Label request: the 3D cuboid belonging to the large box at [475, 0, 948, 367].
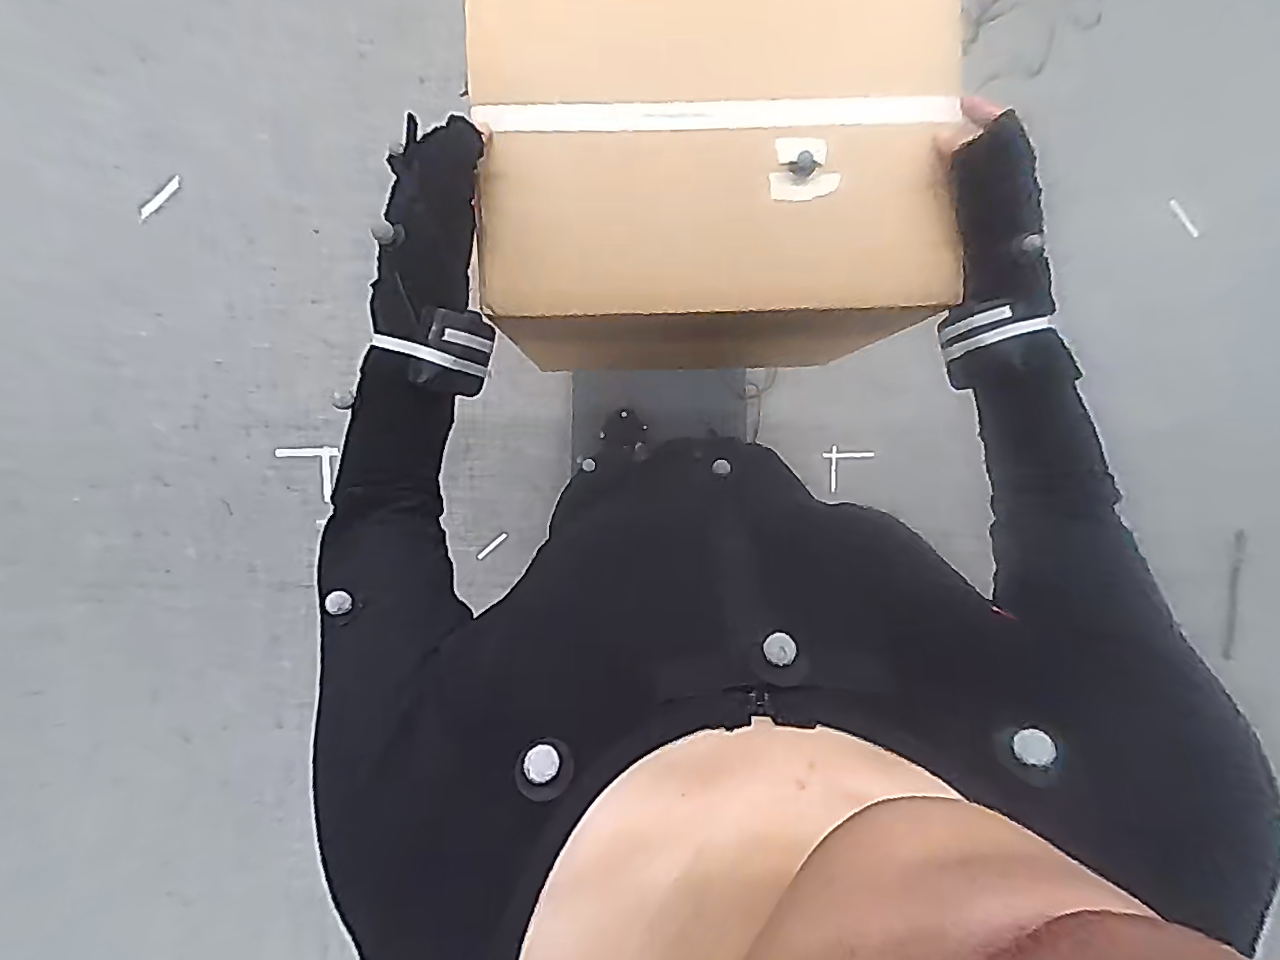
[{"bbox_3d":[0.058,-0.314,0.608,0.408,0.320,0.320,-2,93,-2],"label":"large box"}]
